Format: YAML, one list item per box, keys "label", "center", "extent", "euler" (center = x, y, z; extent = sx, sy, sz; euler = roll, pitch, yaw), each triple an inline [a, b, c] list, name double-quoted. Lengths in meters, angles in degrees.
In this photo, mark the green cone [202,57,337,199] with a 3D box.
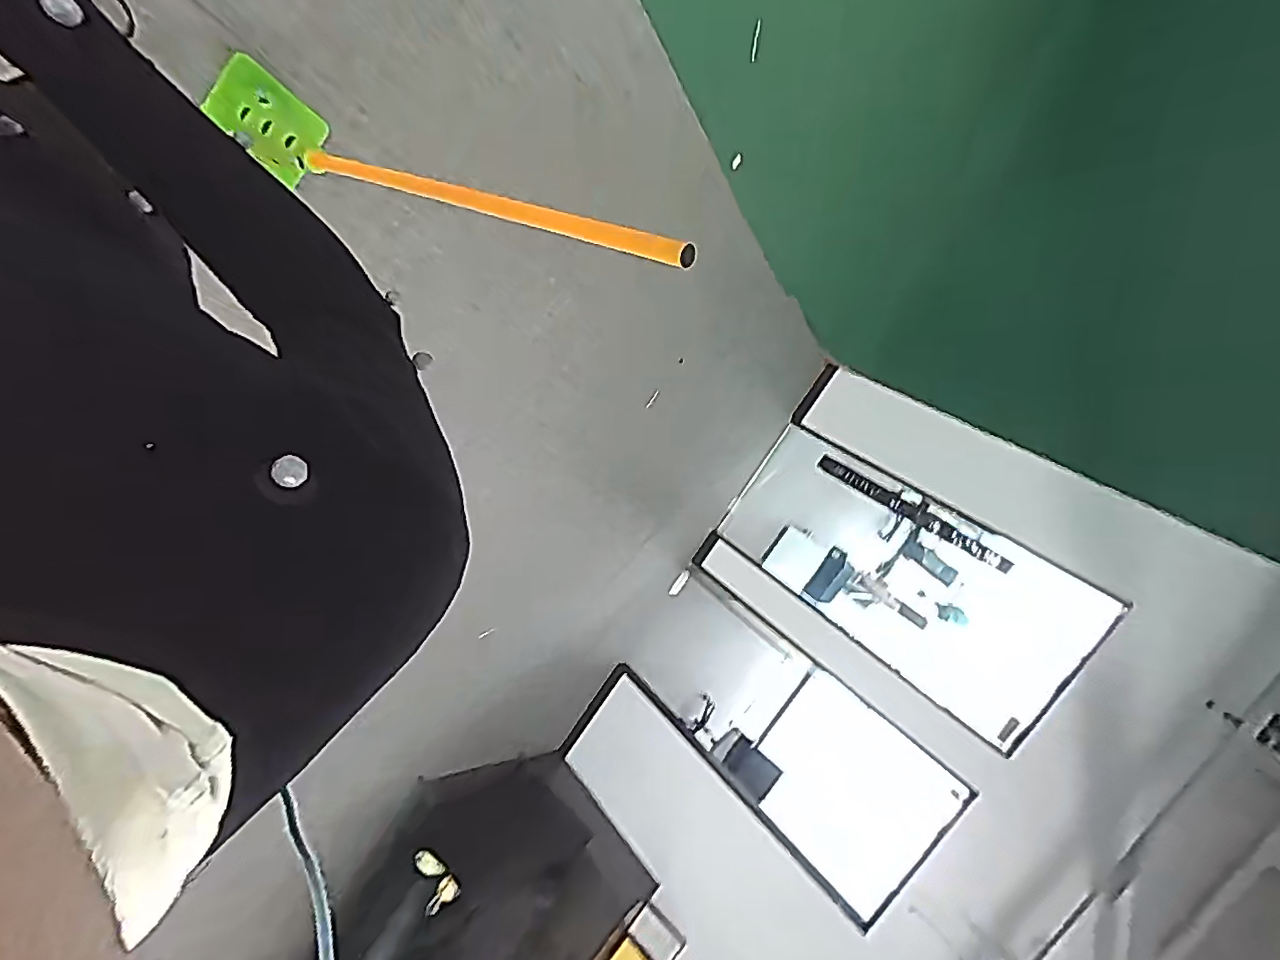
- label: "green cone"
  center: [-0.680, -0.665, 1.071]
  extent: [0.200, 0.368, 0.202]
  euler: [-56, 145, 4]
